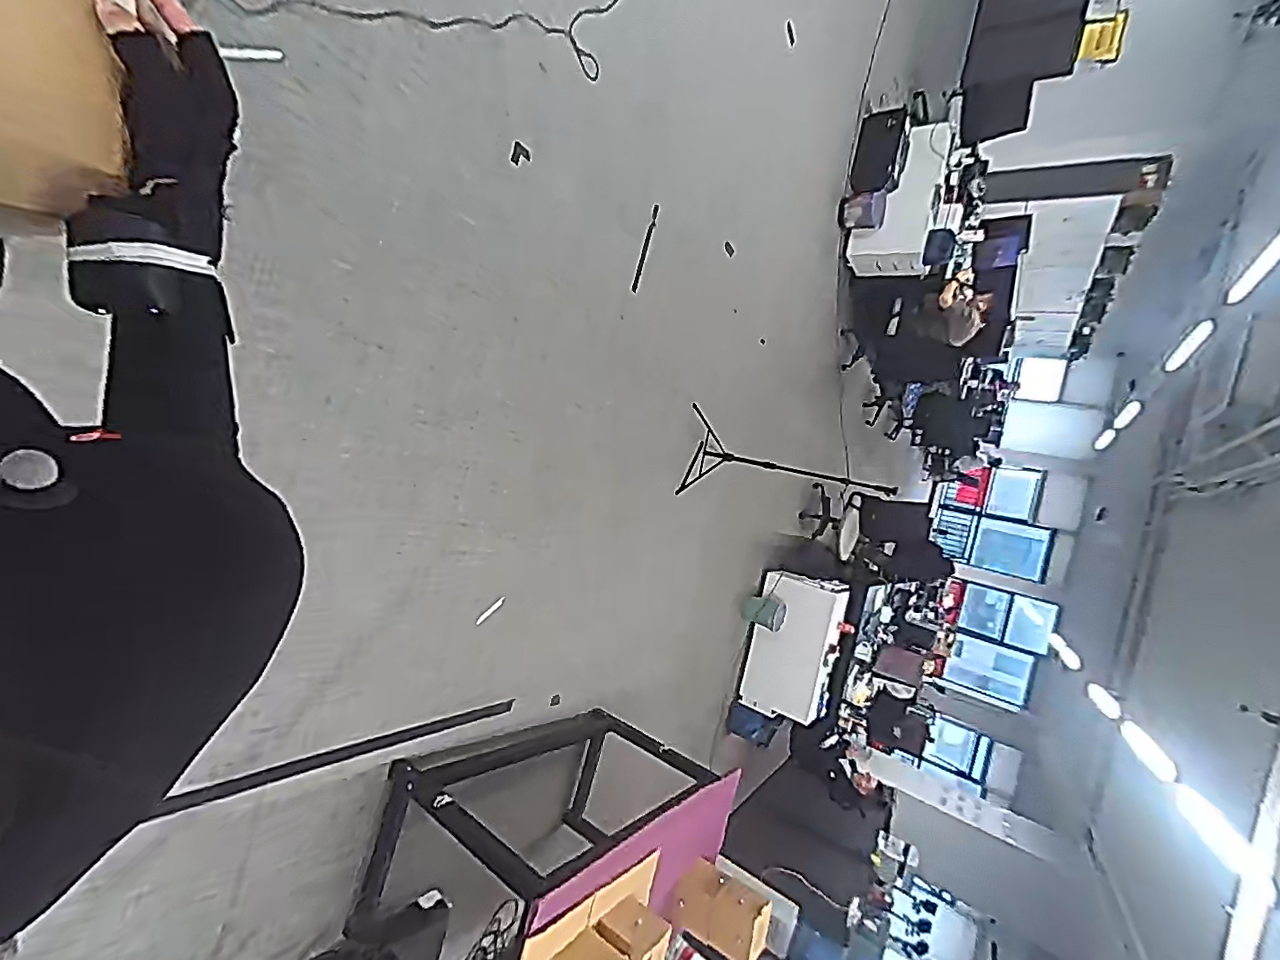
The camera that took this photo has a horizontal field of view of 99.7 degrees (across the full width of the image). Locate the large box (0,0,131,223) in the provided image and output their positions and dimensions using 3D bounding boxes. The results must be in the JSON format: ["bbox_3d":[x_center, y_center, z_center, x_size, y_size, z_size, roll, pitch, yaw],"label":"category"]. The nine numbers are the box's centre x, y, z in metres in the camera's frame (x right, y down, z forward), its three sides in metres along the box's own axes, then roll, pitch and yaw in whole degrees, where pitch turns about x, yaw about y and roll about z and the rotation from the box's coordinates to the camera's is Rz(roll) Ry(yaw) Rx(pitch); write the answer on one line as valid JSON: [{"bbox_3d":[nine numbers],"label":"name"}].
[{"bbox_3d":[-0.588,-0.356,0.276,0.408,0.320,0.320,-9,110,-61],"label":"large box"}]
